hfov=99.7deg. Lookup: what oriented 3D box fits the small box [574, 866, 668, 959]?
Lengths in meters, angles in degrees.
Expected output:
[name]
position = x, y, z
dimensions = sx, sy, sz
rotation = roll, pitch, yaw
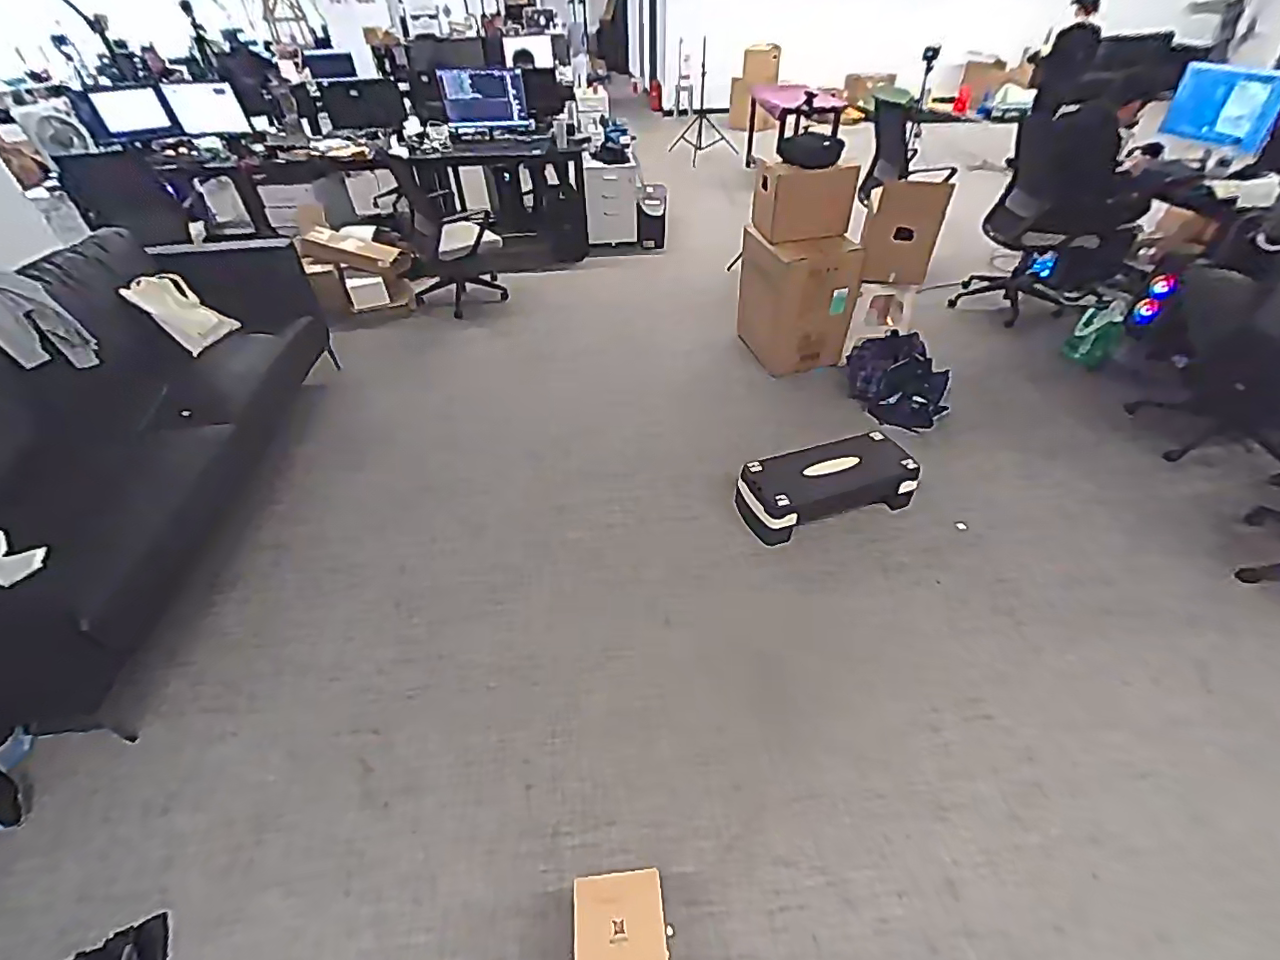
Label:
[small box]
position = -0.034, 0.863, 1.022
dimensions = 0.168, 0.176, 0.179
rotation = -5, 41, -4
